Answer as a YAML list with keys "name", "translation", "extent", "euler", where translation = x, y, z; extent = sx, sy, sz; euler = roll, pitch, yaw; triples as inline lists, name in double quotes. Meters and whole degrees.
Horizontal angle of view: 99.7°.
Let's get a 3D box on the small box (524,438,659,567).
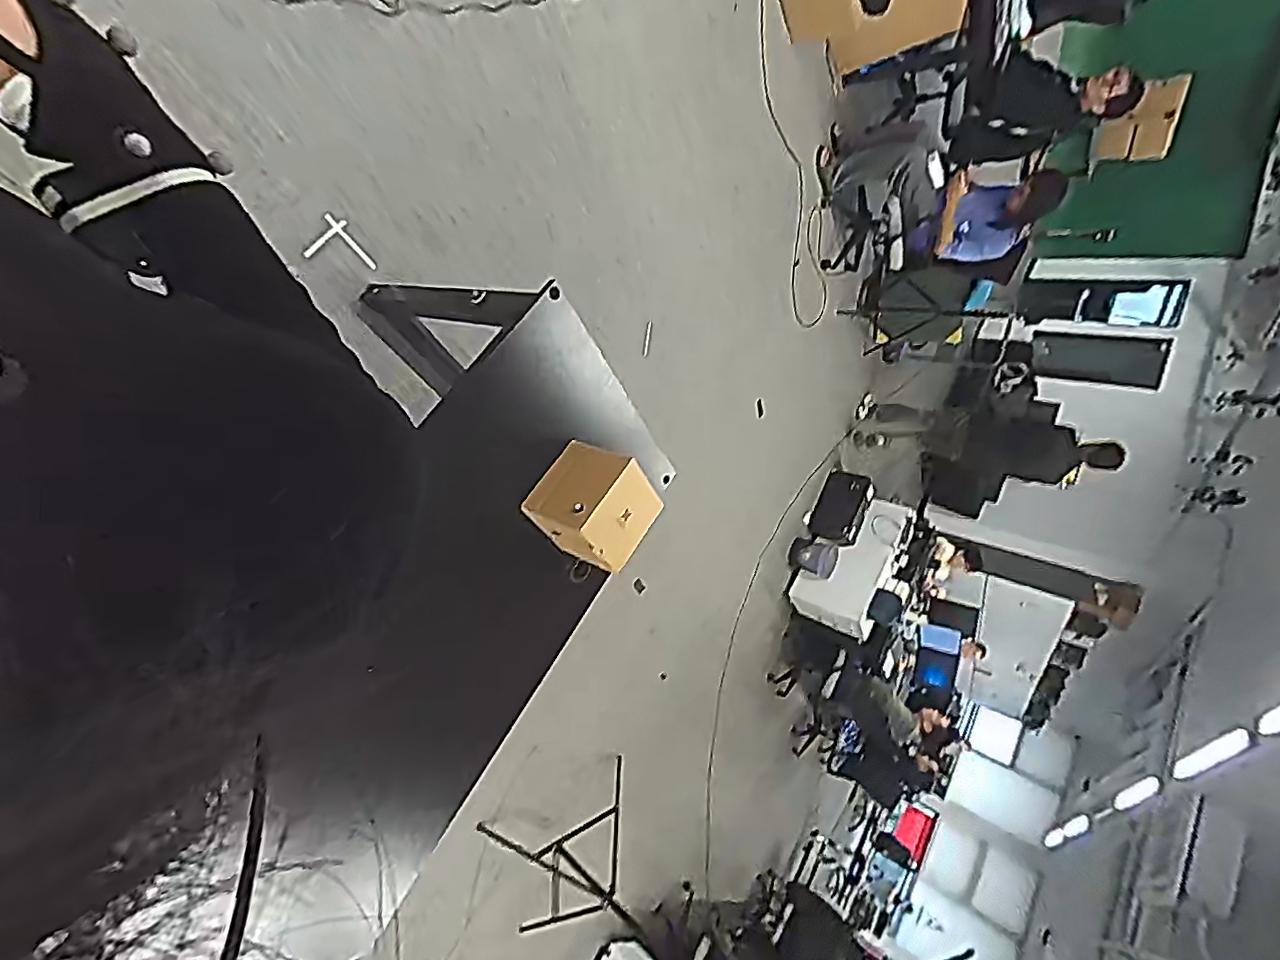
- name: "small box"
  translation: [-0.096, 0.039, 1.078]
  extent: [0.179, 0.176, 0.168]
  euler: [-55, 139, -20]
